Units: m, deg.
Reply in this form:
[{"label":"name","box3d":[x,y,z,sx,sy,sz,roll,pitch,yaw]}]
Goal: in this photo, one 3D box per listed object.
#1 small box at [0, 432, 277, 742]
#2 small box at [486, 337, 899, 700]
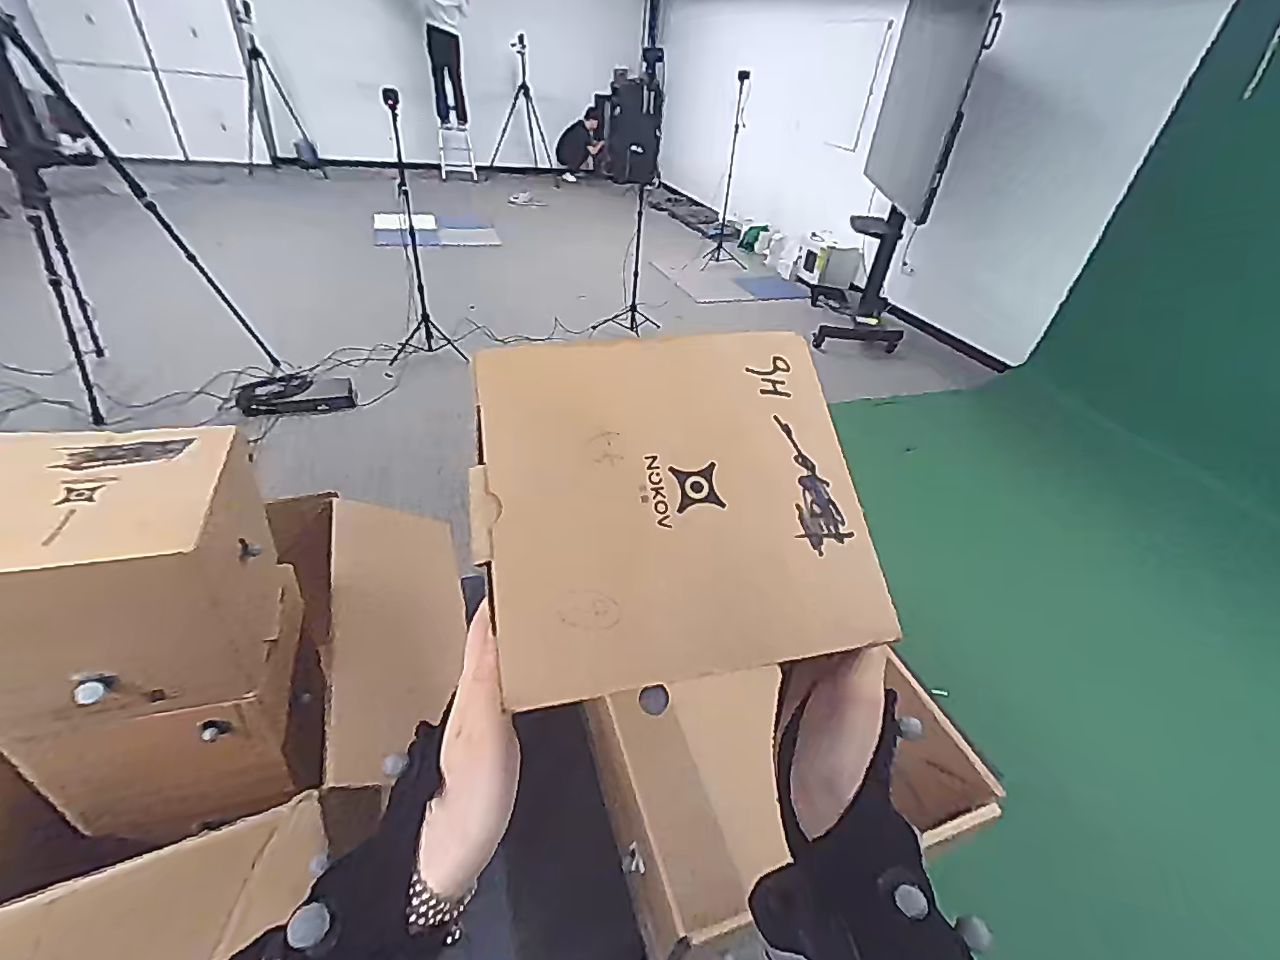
[{"label":"small box","box3d":[-0.420,0.077,0.450,0.168,0.176,0.179,-6,38,-23]},{"label":"small box","box3d":[0.011,0.035,0.331,0.179,0.176,0.168,-6,69,-11]}]
